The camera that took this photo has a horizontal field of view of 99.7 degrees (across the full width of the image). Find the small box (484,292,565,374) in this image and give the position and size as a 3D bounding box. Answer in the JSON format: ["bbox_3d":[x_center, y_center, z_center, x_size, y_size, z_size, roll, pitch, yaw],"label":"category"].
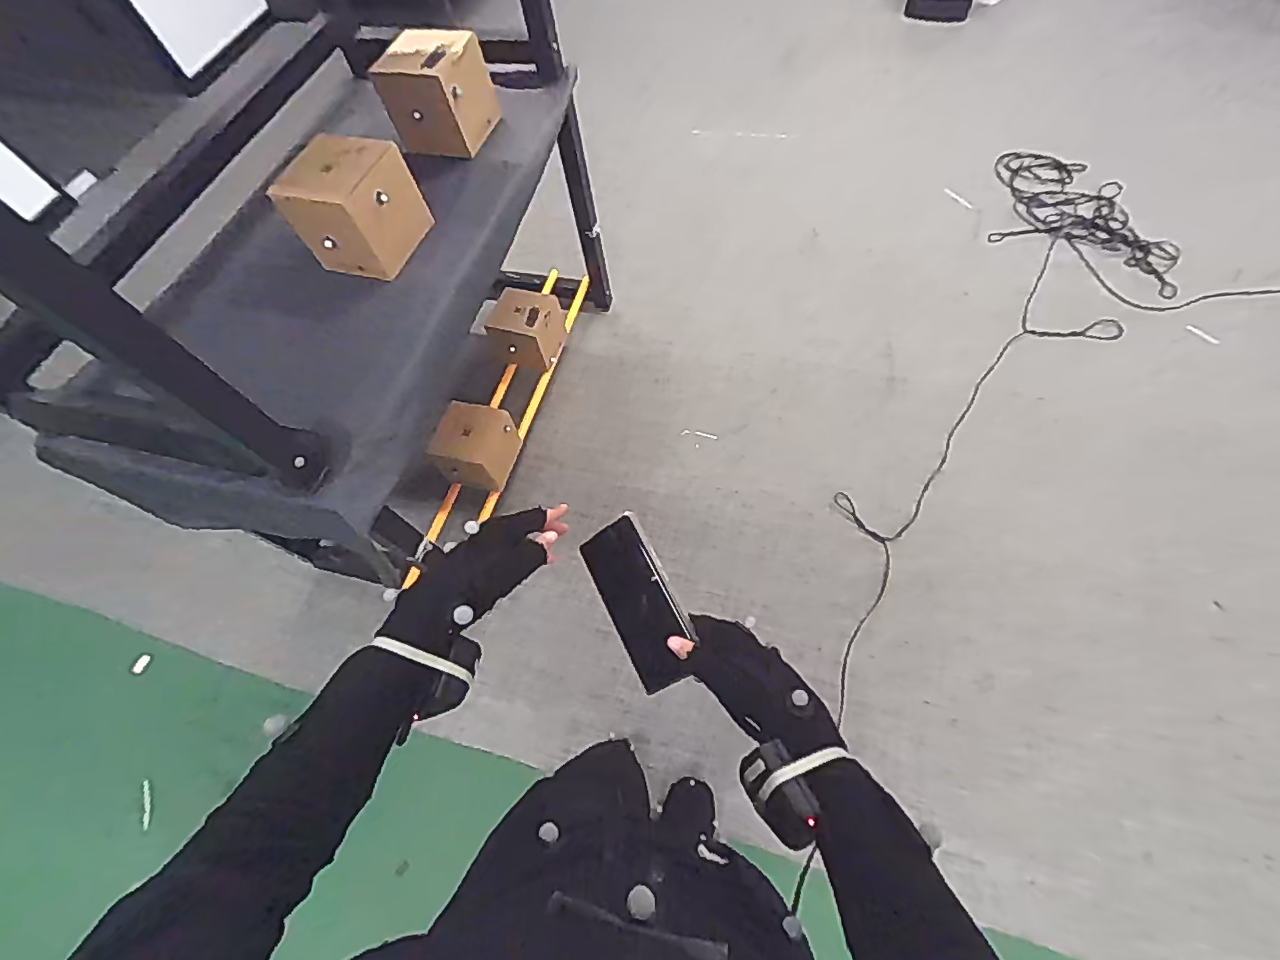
[{"bbox_3d":[-0.350,-0.452,1.685,0.179,0.176,0.168,14,64,13],"label":"small box"}]

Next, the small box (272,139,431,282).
[{"bbox_3d":[-0.528,-0.504,1.023,0.168,0.176,0.179,14,65,13],"label":"small box"}]
